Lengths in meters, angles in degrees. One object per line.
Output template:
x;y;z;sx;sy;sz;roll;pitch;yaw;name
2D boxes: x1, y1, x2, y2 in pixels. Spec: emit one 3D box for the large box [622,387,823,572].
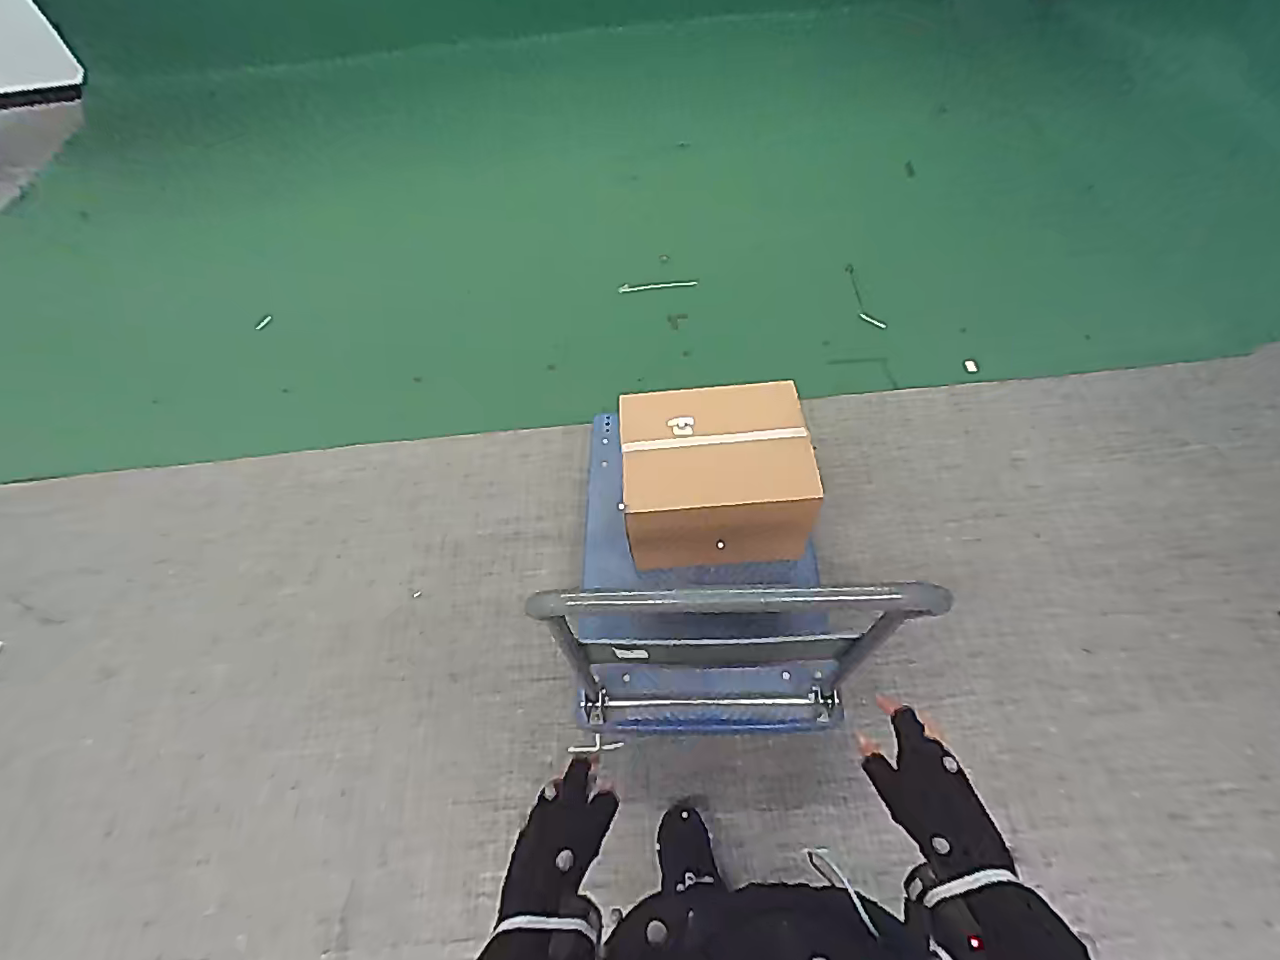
0.178;0.010;1.301;0.408;0.320;0.320;-5;57;2;large box
